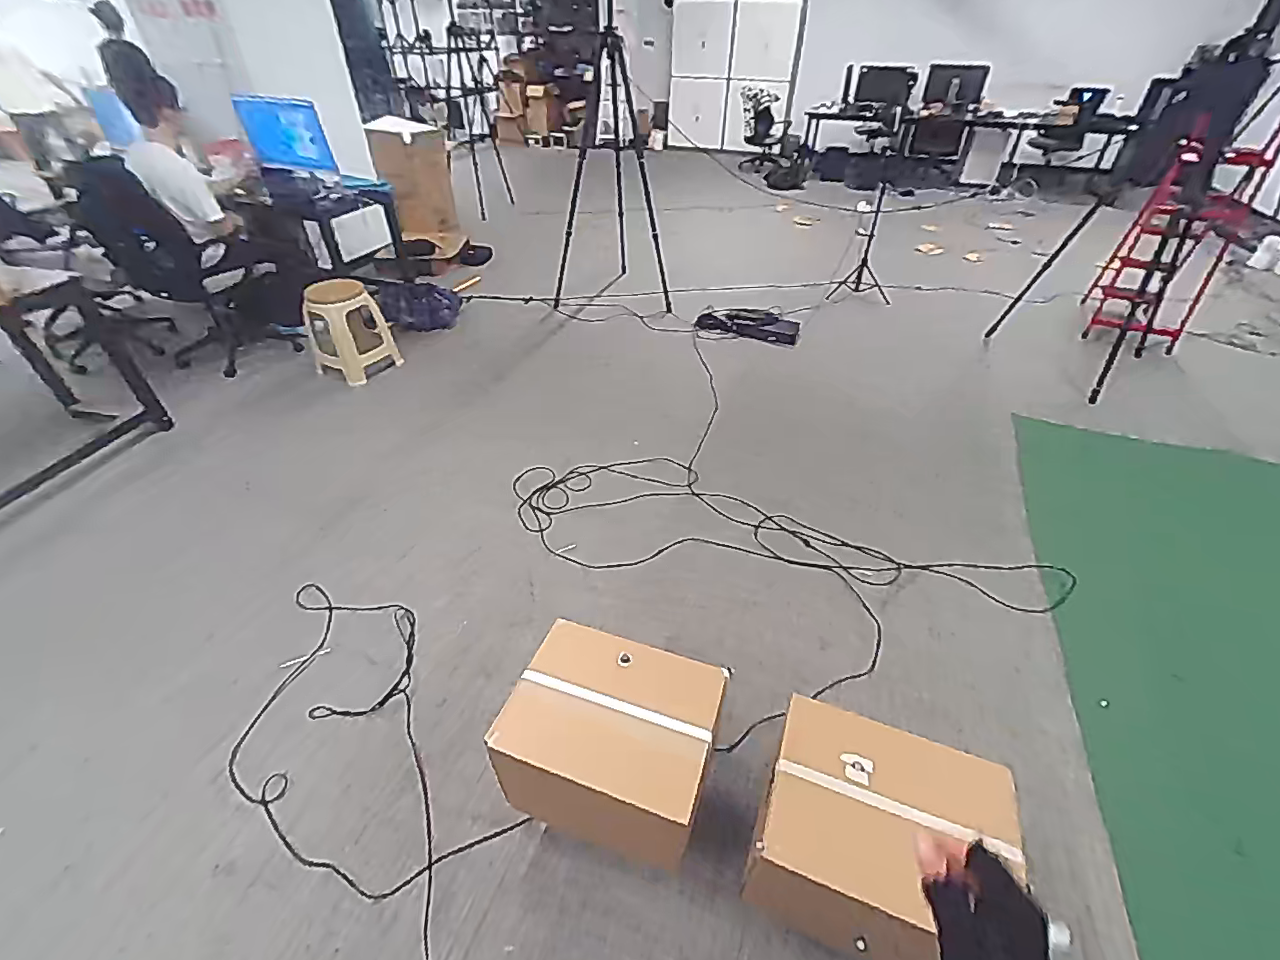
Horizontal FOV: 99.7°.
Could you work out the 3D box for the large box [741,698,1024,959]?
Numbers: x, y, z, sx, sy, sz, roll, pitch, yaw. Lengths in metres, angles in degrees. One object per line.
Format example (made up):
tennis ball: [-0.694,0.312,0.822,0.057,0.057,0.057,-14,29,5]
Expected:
large box: [0.442,0.699,1.054,0.408,0.320,0.320,14,42,17]
